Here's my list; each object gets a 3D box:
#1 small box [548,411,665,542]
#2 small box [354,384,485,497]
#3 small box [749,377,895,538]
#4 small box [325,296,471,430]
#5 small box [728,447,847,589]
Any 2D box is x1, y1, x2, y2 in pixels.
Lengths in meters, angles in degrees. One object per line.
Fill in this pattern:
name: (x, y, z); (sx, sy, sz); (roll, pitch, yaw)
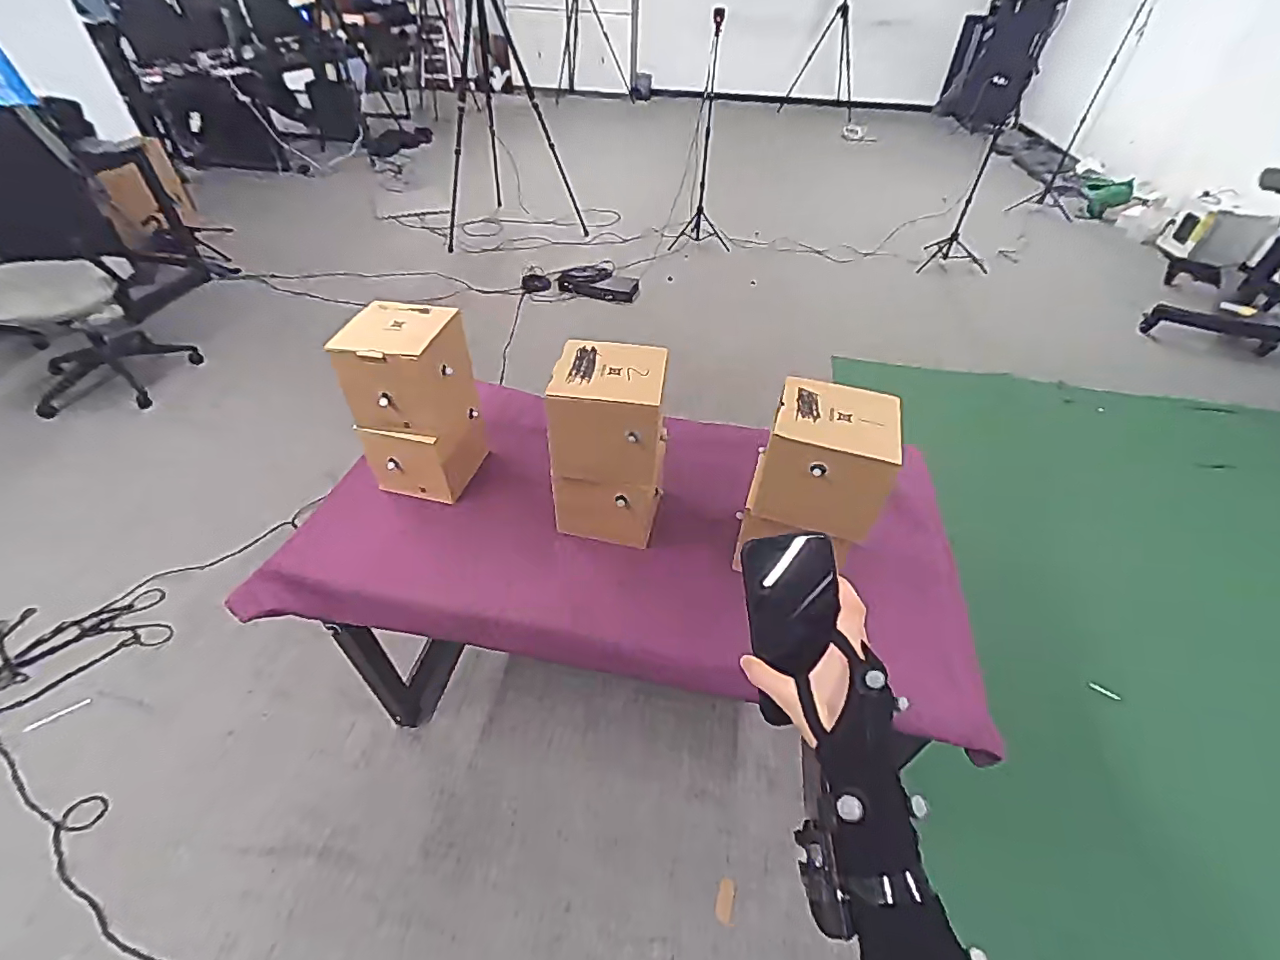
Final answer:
small box: (-0.059, -0.003, 1.028); (0.179, 0.176, 0.168); (11, 45, 8)
small box: (-0.433, -0.090, 1.099); (0.168, 0.176, 0.179); (11, 45, 9)
small box: (0.279, -0.034, 0.845); (0.179, 0.176, 0.168); (15, 45, 12)
small box: (-0.426, -0.213, 0.990); (0.168, 0.176, 0.179); (8, 45, 4)
small box: (0.269, 0.071, 0.971); (0.179, 0.176, 0.168); (15, 45, 13)
